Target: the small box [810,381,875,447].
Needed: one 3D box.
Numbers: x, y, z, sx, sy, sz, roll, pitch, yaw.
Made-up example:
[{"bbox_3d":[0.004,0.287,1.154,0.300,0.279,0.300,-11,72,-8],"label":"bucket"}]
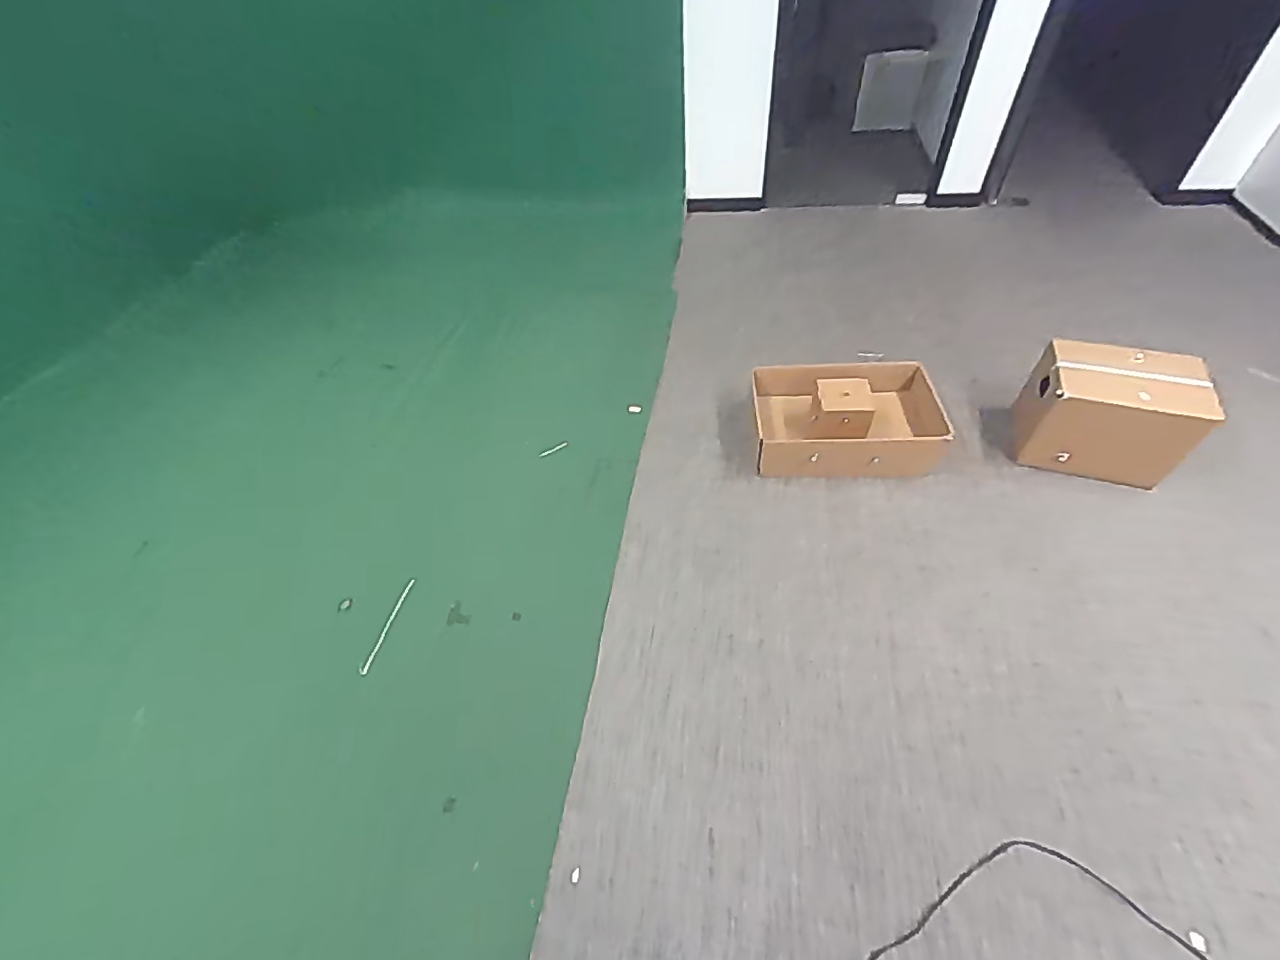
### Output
[{"bbox_3d":[0.710,-0.232,1.919,0.179,0.176,0.168,1,50,5],"label":"small box"}]
